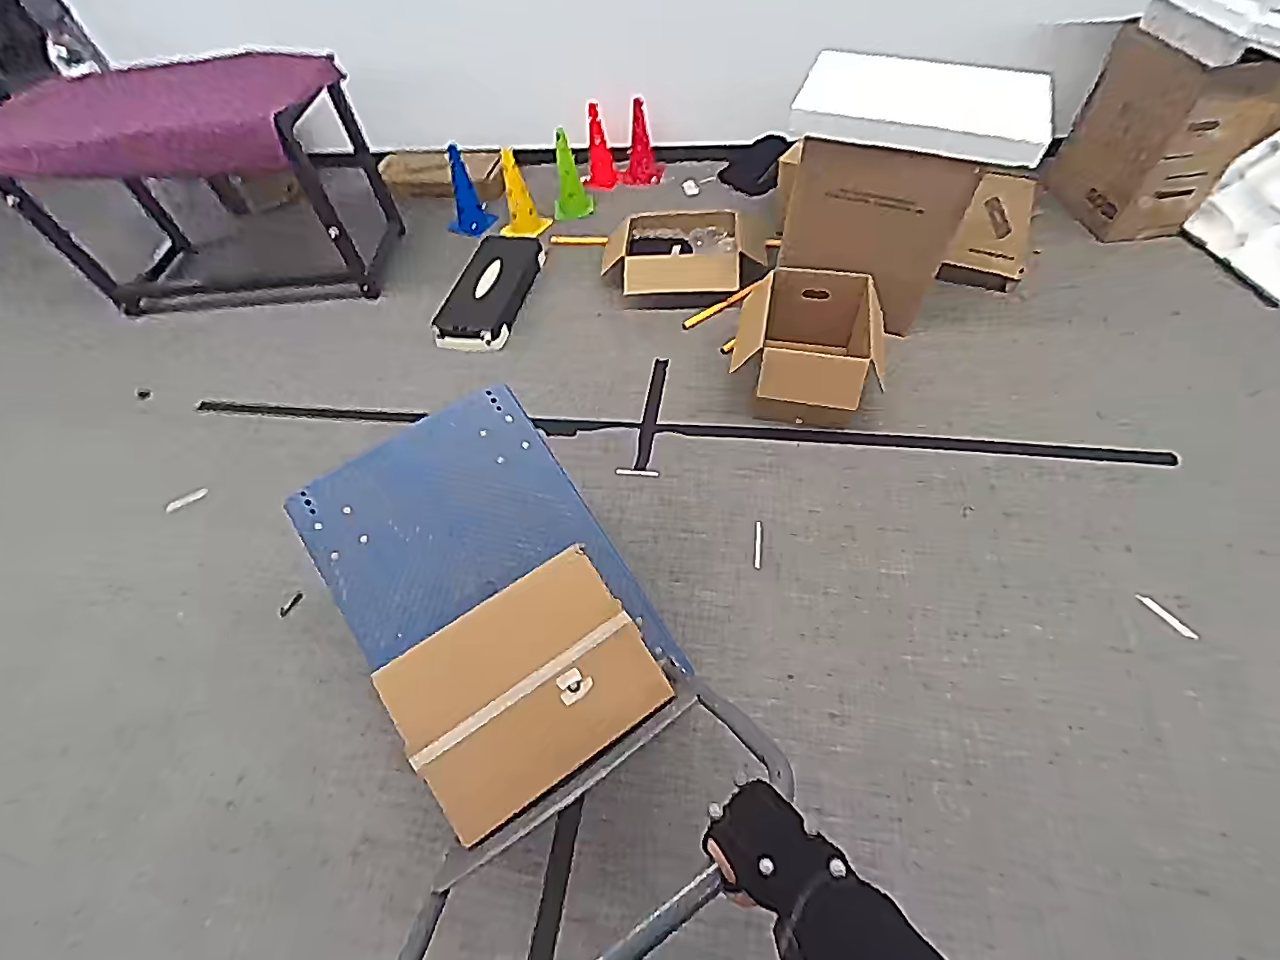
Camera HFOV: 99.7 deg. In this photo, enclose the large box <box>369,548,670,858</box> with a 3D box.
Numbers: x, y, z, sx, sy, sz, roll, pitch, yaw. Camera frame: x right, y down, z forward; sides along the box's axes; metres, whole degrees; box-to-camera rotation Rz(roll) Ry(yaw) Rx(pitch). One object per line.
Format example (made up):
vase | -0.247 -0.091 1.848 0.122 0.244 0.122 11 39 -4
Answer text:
large box | -0.208 0.389 1.028 0.408 0.320 0.320 -33 81 -14
